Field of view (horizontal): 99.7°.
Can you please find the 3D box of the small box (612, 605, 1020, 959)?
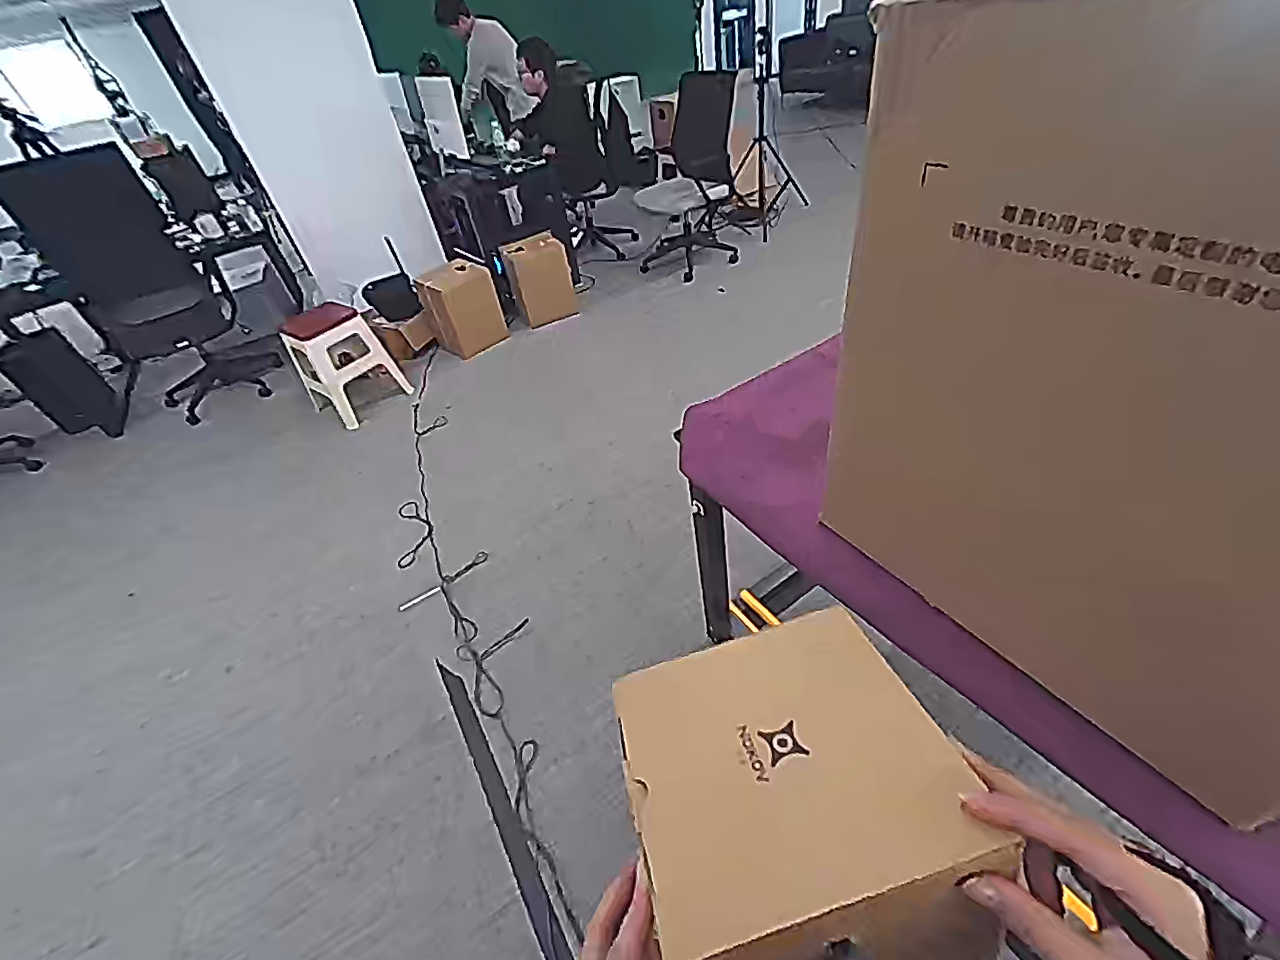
[{"bbox_3d":[0.095,0.218,0.350,0.179,0.176,0.168,-18,30,-3],"label":"small box"}]
